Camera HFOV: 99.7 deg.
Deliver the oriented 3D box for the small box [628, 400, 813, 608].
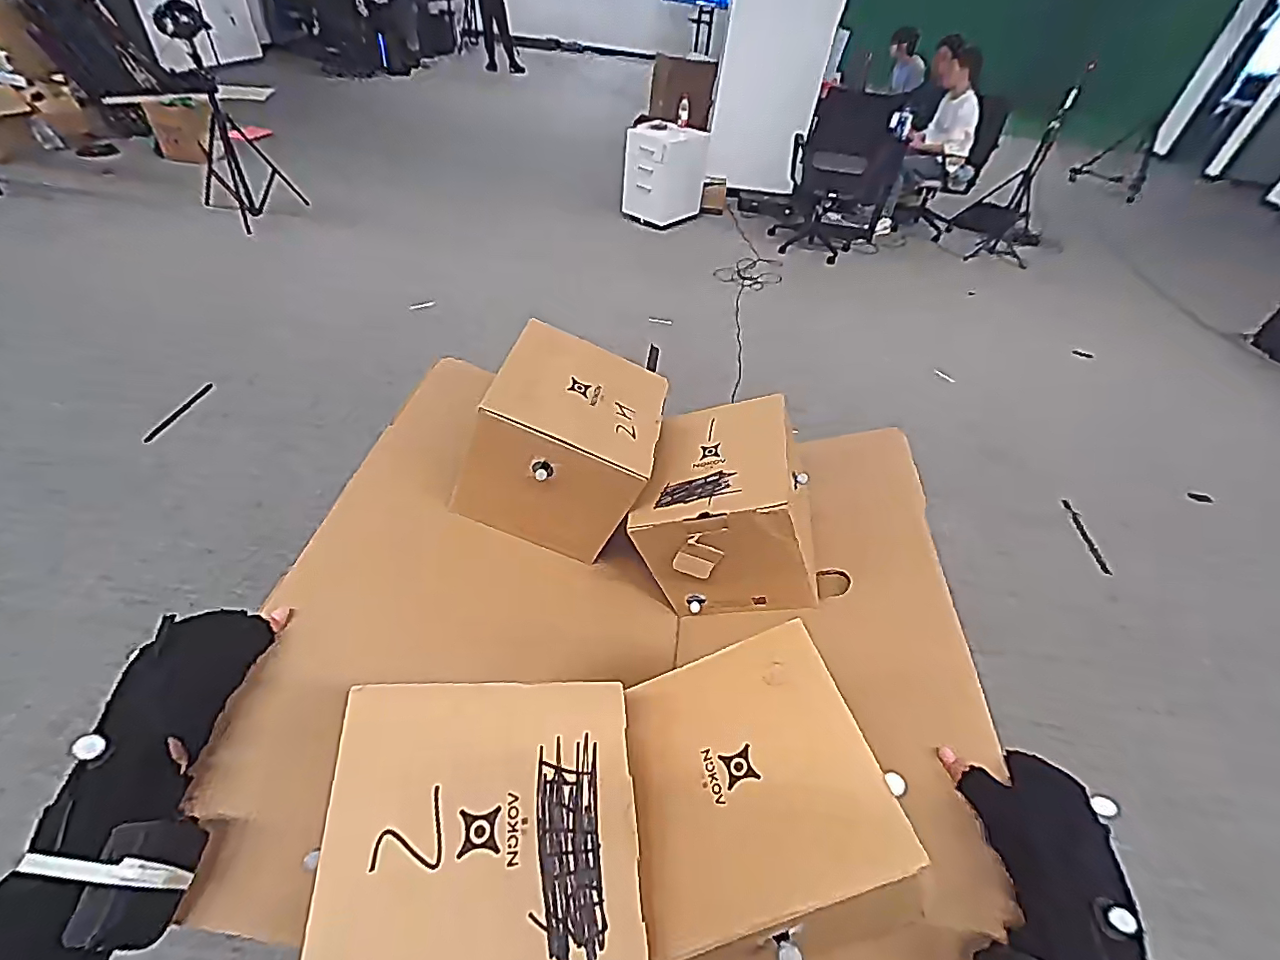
[{"bbox_3d":[0.103,0.037,0.636,0.168,0.176,0.179,-9,41,21],"label":"small box"}]
